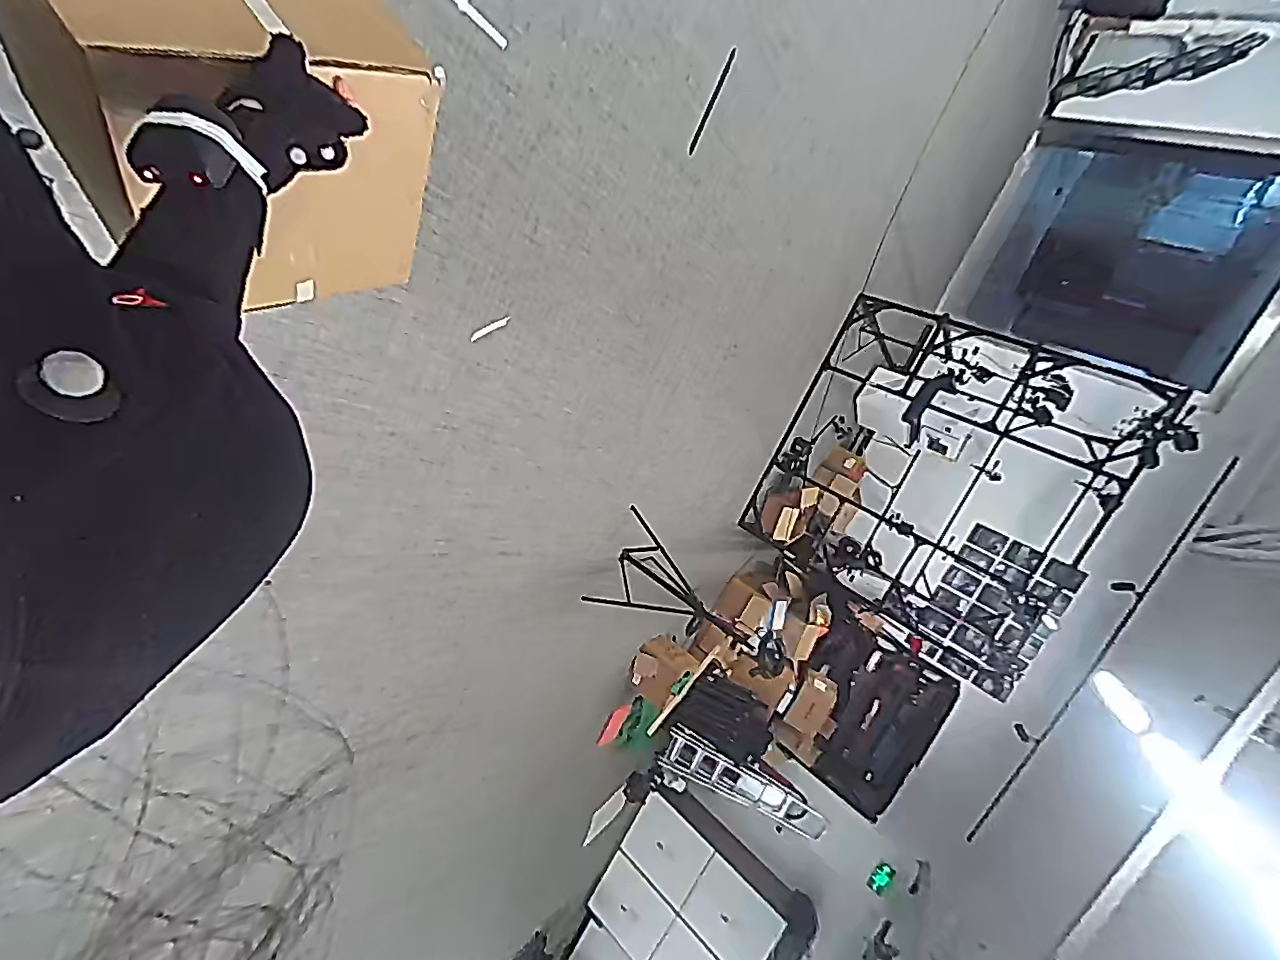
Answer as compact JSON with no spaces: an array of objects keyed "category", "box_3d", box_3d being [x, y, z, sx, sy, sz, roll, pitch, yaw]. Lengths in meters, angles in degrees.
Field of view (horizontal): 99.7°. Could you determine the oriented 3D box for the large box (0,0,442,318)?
[{"category":"large box","box_3d":[-0.513,-0.477,0.657,0.320,0.408,0.320,-32,173,-38]}]
